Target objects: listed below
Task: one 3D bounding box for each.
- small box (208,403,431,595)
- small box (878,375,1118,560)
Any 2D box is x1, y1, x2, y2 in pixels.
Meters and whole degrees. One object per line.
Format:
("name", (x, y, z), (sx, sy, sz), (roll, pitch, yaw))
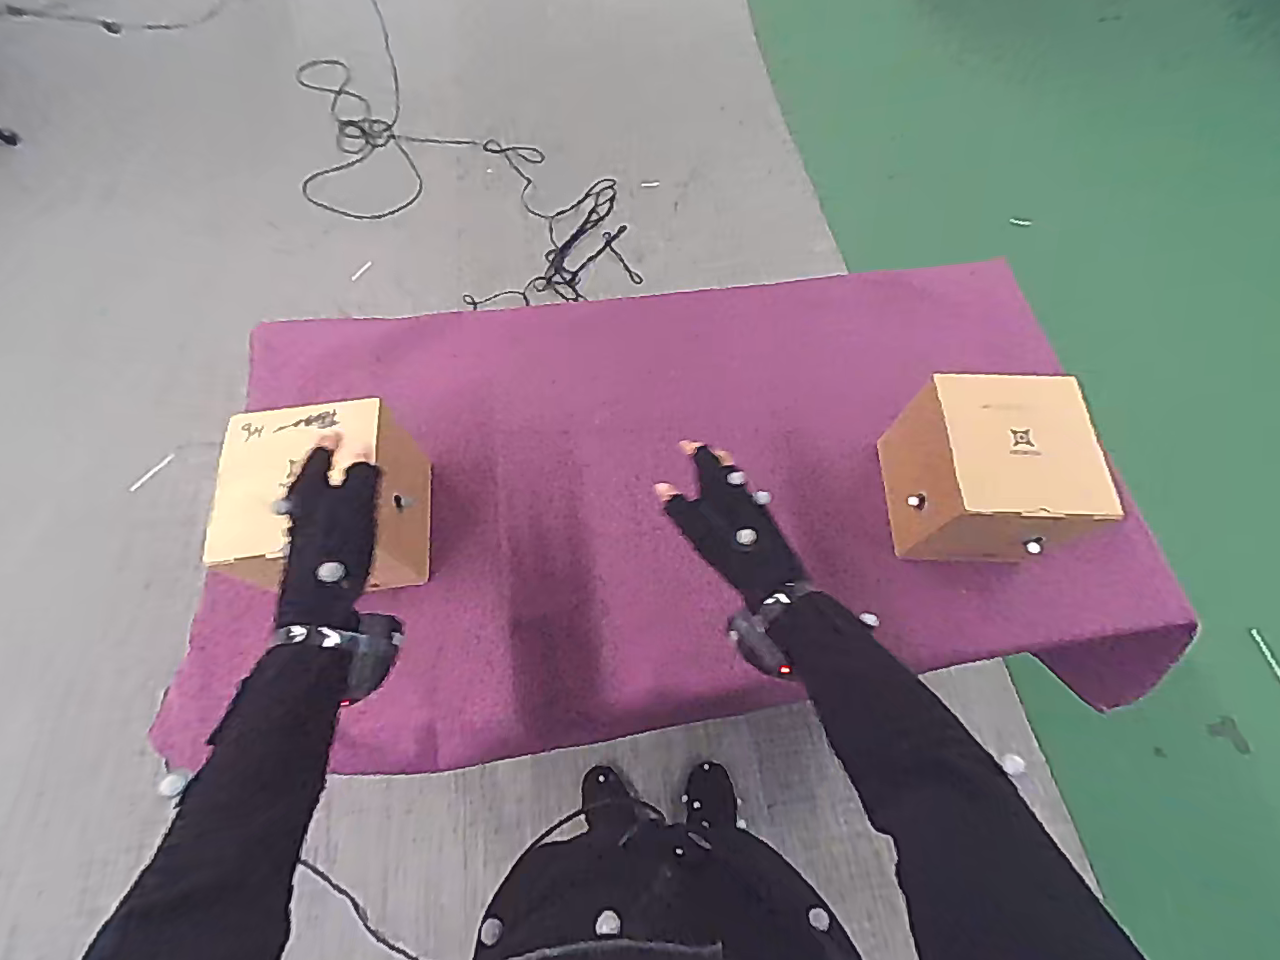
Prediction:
("small box", (-0.360, 0.033, 0.645), (0.168, 0.176, 0.179), (-7, 66, -4))
("small box", (0.413, -0.007, 0.662), (0.168, 0.176, 0.179), (2, 65, 1))
